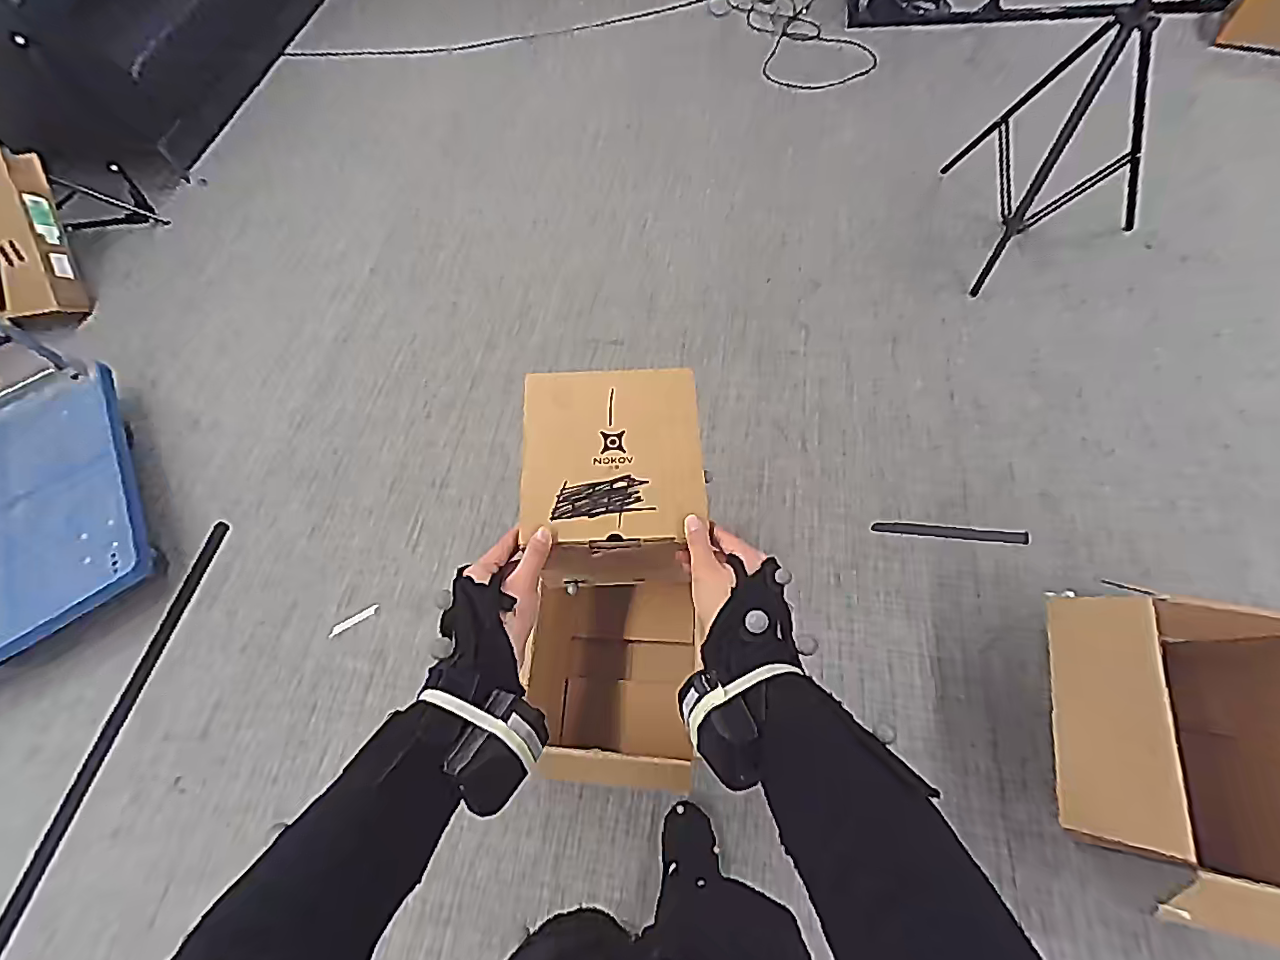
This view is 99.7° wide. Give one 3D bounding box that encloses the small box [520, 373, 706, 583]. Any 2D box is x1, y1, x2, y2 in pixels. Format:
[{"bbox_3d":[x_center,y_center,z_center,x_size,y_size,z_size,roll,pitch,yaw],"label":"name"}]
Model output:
[{"bbox_3d":[-0.026,0.008,0.573,0.168,0.176,0.179,-2,66,-2],"label":"small box"}]
